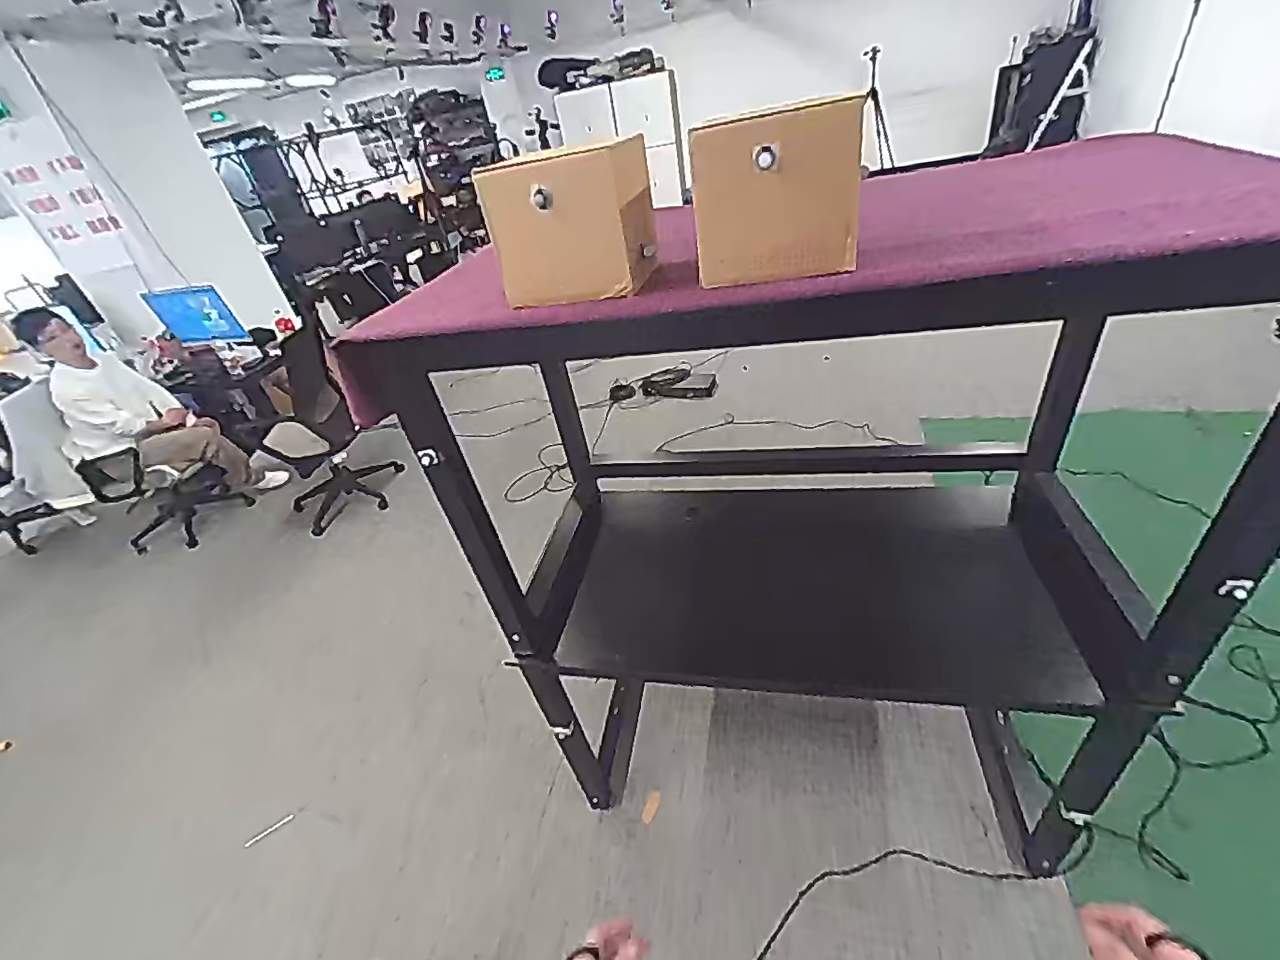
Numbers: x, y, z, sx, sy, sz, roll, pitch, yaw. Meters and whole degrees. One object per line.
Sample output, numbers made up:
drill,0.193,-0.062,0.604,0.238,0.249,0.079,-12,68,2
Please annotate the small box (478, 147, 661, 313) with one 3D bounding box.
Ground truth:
small box,-0.081,-0.333,0.729,0.179,0.176,0.168,1,36,17

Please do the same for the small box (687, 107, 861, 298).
small box,0.163,-0.336,0.660,0.179,0.176,0.168,-2,34,16
